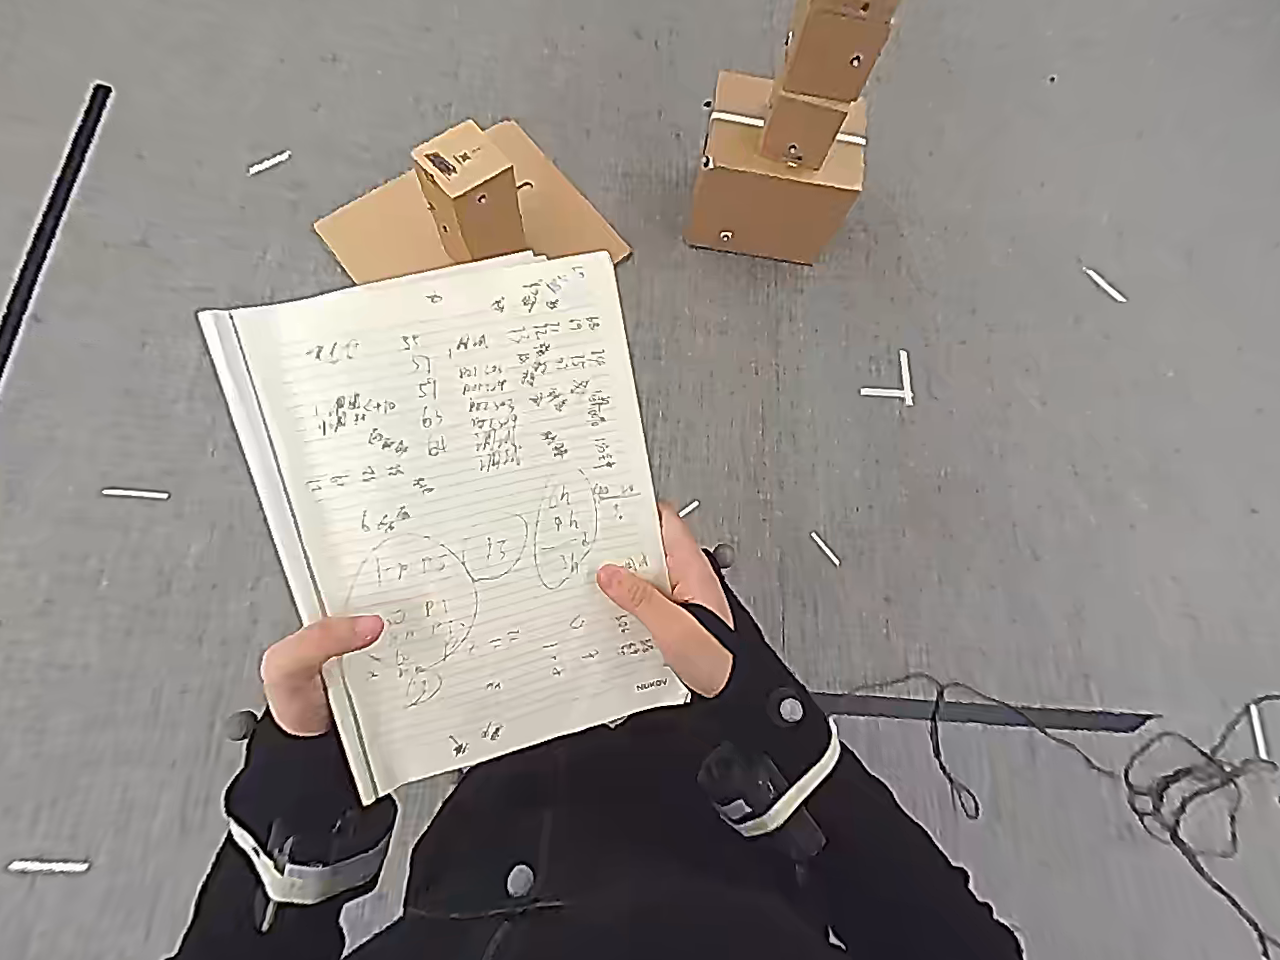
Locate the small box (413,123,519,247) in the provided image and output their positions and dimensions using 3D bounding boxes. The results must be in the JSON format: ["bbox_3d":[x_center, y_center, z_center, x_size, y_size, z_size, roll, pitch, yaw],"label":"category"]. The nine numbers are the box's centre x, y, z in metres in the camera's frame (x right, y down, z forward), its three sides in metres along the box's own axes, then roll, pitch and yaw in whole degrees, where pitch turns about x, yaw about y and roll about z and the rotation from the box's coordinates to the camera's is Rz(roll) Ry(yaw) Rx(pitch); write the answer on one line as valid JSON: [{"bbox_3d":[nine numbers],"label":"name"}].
[{"bbox_3d":[-0.416,-0.717,1.331,0.179,0.176,0.168,-39,82,-15],"label":"small box"}]

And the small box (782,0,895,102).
[{"bbox_3d":[0.417,-0.951,1.153,0.179,0.176,0.168,7,74,-2],"label":"small box"}]

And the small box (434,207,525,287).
[{"bbox_3d":[-0.431,-0.674,1.490,0.179,0.176,0.168,-40,82,-15],"label":"small box"}]

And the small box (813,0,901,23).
[{"bbox_3d":[0.429,-1.006,0.998,0.168,0.176,0.179,9,74,-2],"label":"small box"}]
